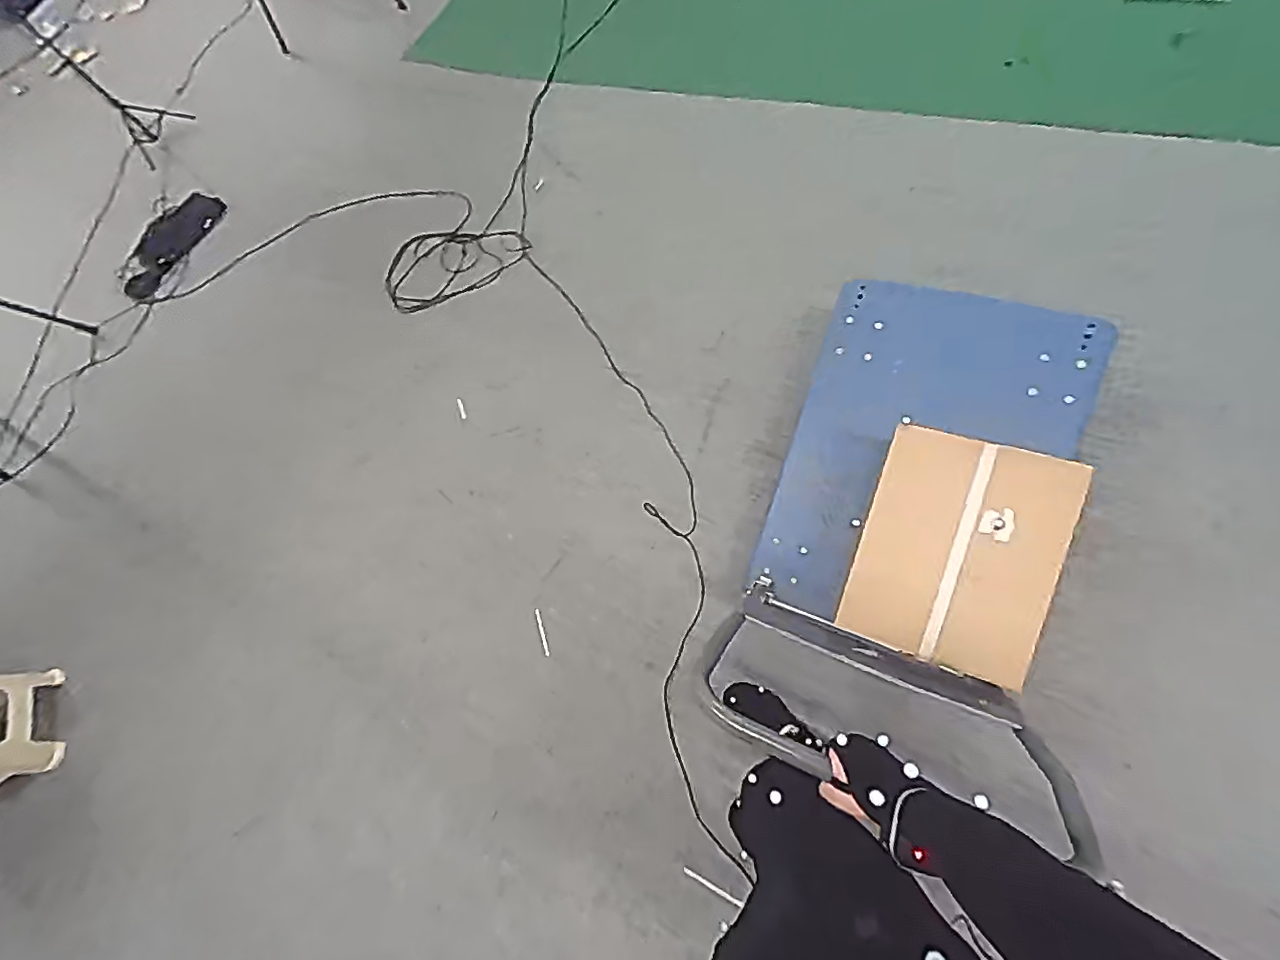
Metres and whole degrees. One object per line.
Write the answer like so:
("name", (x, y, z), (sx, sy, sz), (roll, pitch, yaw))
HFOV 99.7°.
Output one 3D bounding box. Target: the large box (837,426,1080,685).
("large box", (0.616, 0.141, 1.117), (0.320, 0.320, 0.408), (17, 90, 20))
